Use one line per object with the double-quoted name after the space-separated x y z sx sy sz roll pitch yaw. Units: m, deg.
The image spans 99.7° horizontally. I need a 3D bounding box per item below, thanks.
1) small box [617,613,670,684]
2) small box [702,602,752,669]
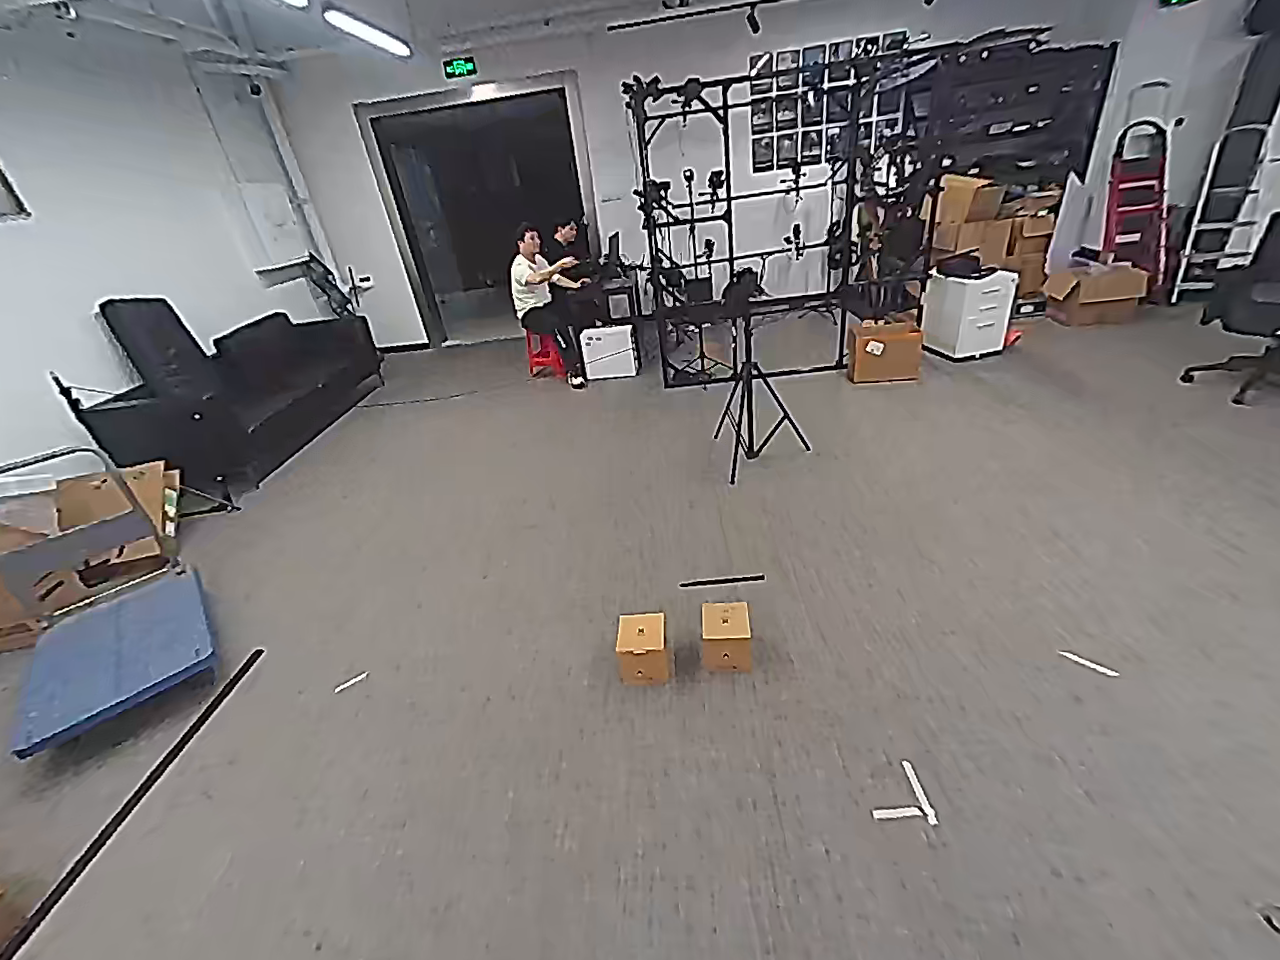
0.017 0.606 1.946 0.168 0.176 0.179 -6 29 6 "small box"
0.312 0.561 1.941 0.168 0.176 0.179 -3 29 8 "small box"
